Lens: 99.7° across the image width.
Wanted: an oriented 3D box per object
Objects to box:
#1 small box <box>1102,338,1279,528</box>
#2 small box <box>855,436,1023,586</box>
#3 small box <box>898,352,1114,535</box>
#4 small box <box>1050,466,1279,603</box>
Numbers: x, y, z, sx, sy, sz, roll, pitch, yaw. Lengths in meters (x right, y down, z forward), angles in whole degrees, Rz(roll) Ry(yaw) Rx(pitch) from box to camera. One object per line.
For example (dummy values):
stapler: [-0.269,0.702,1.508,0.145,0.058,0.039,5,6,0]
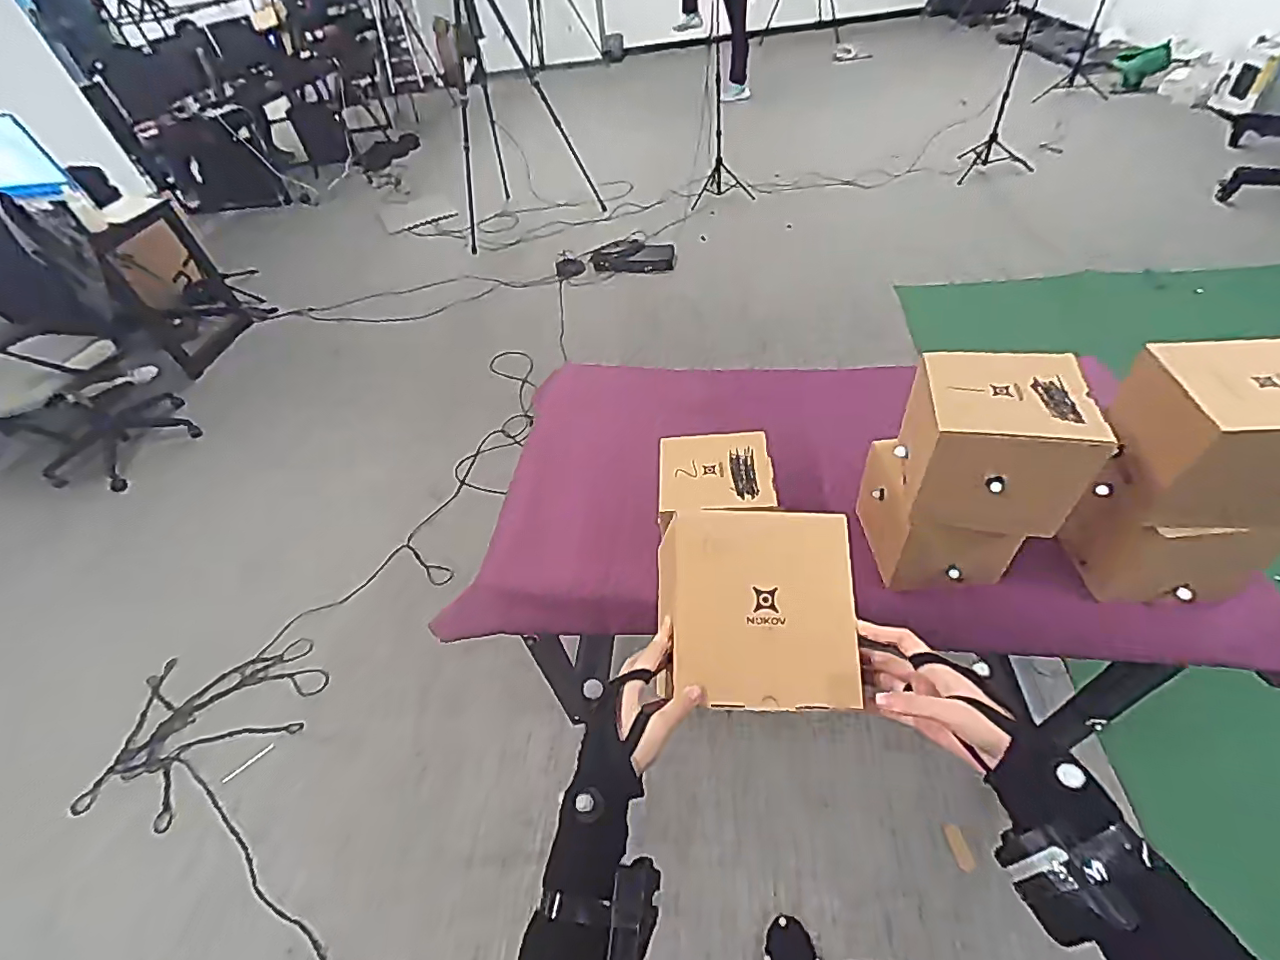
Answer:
small box: [0.713,-0.054,0.661,0.179,0.176,0.168,0,47,11]
small box: [0.449,0.048,0.843,0.168,0.176,0.179,-2,52,5]
small box: [0.448,-0.047,0.699,0.179,0.176,0.168,5,47,16]
small box: [0.745,0.063,0.772,0.179,0.176,0.168,-3,46,7]
